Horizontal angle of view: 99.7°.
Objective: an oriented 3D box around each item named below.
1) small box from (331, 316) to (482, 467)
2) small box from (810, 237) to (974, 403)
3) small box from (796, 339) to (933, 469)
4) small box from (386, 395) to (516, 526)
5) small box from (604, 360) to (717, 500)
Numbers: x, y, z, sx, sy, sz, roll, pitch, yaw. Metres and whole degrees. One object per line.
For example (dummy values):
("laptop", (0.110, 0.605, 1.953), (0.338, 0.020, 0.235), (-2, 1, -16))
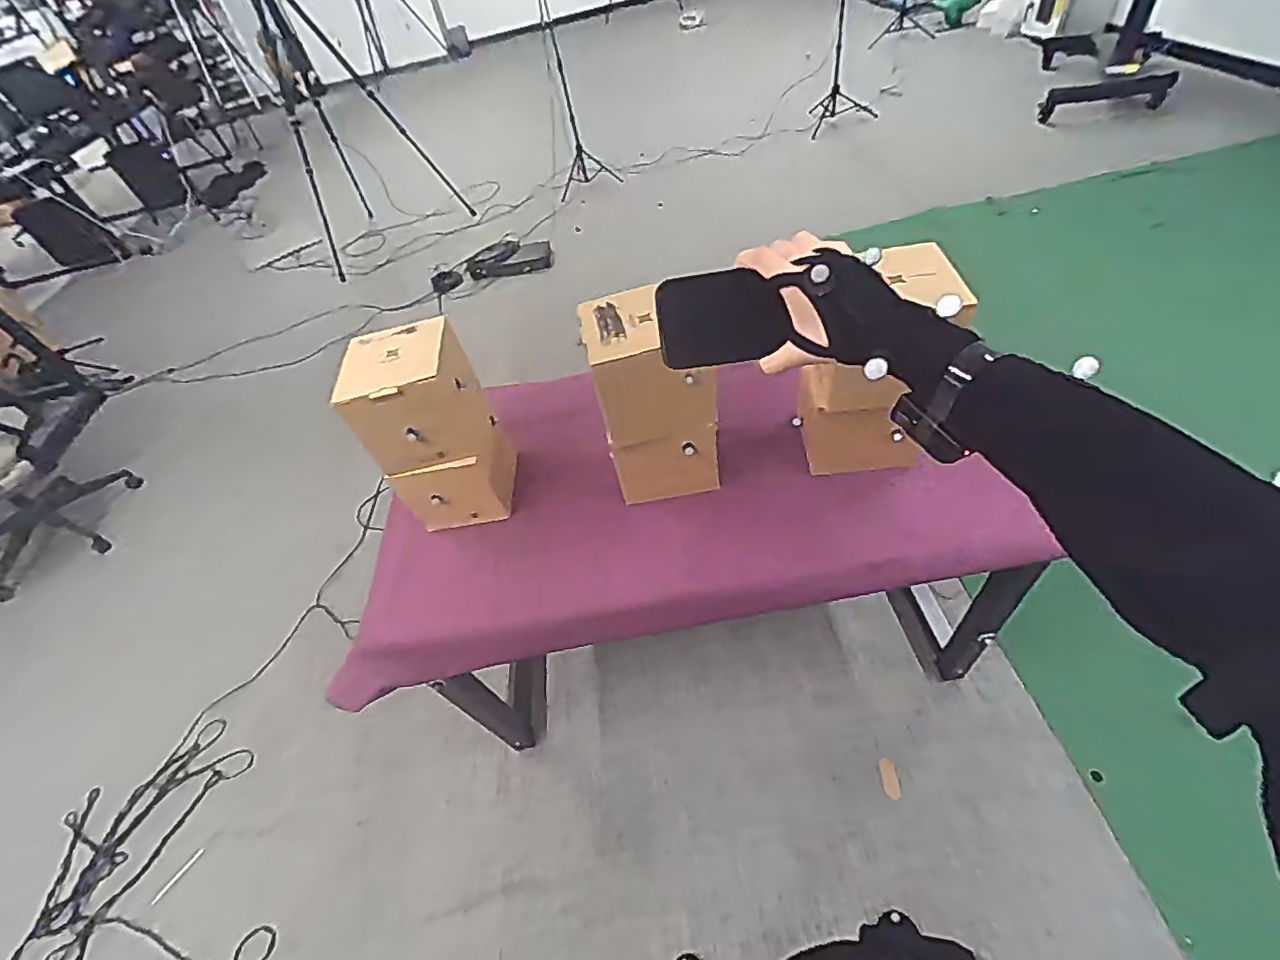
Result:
("small box", (-0.374, -0.140, 0.904), (0.168, 0.176, 0.179), (-14, 49, 1))
("small box", (0.356, -0.232, 0.806), (0.179, 0.176, 0.168), (-6, 49, 8))
("small box", (0.375, -0.137, 0.939), (0.179, 0.176, 0.168), (-6, 49, 9))
("small box", (-0.344, -0.028, 1.021), (0.168, 0.176, 0.179), (-10, 49, 5))
("small box", (0.041, -0.086, 0.975), (0.179, 0.176, 0.168), (-11, 49, 5))
